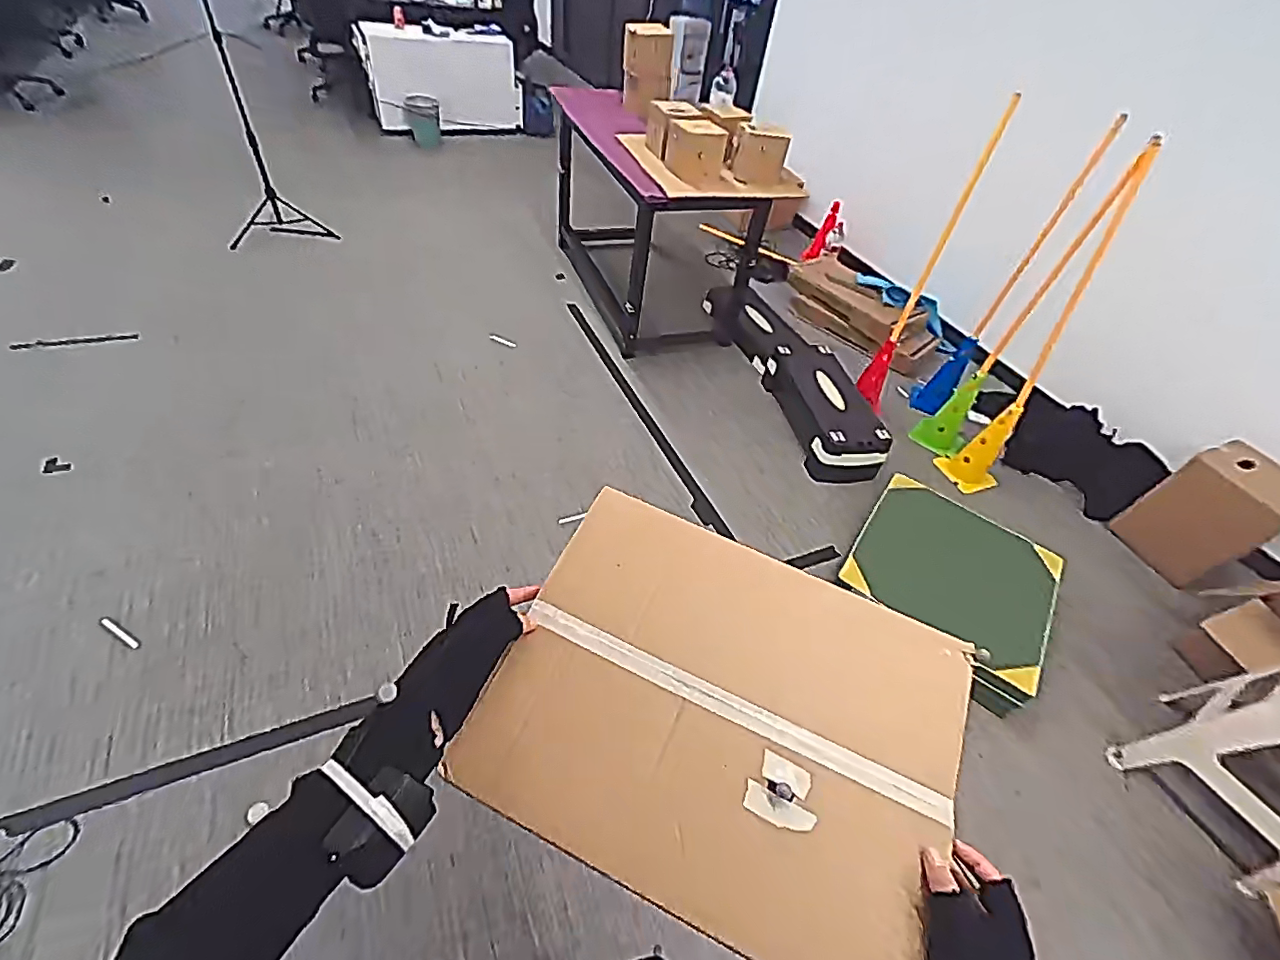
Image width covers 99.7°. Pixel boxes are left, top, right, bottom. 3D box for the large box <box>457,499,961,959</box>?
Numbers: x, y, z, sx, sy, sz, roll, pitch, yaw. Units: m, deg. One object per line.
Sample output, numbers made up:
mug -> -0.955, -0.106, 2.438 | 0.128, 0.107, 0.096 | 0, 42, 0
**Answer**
large box -> 0.071, 0.286, 0.628 | 0.408, 0.320, 0.320 | 24, 60, 10
